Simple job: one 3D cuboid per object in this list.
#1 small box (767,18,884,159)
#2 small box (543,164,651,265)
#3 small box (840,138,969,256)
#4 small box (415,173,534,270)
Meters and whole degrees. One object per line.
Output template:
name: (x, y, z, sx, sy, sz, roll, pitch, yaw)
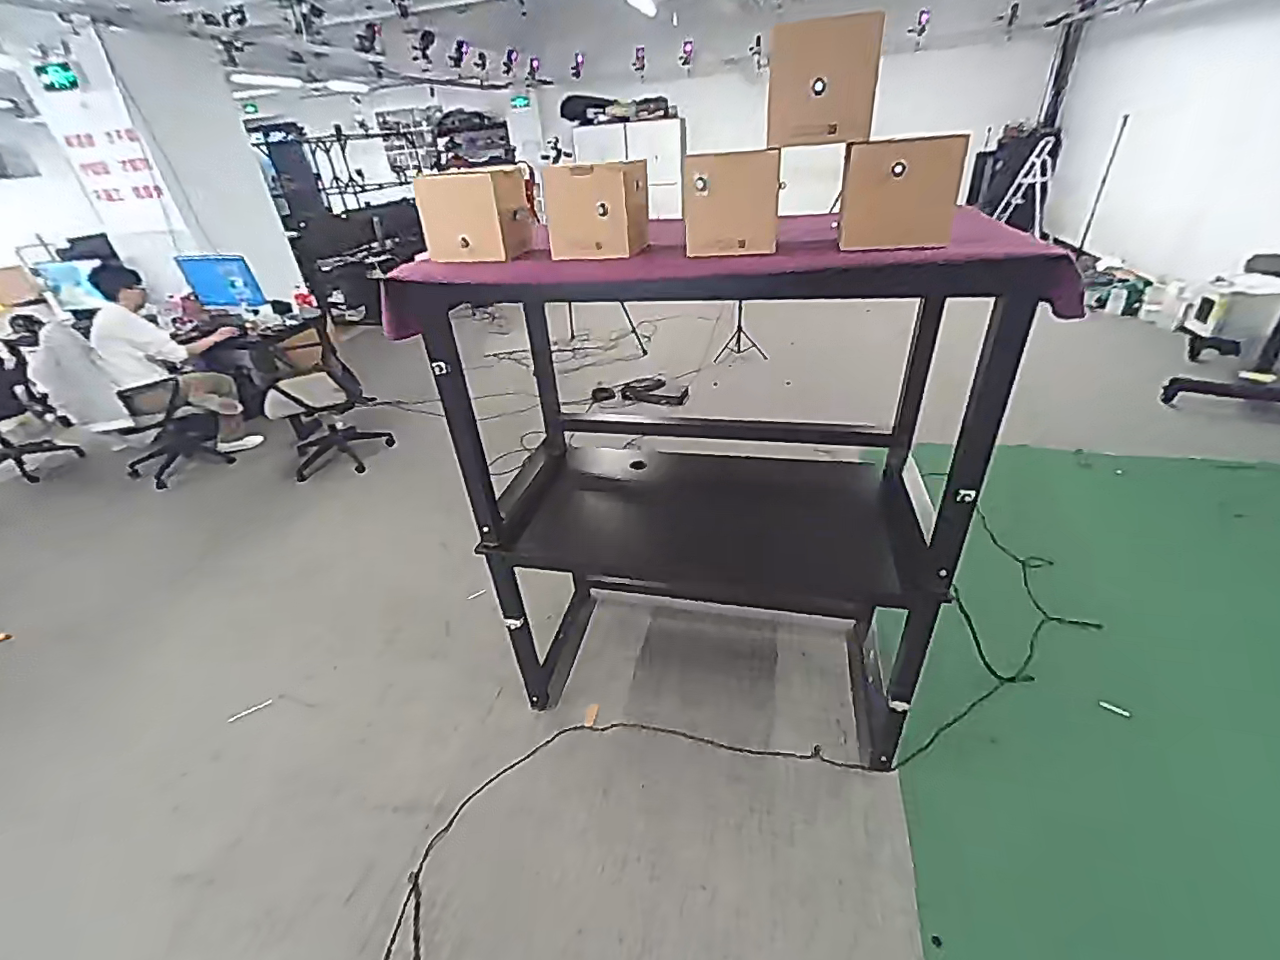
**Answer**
small box: (0.308, -0.657, 0.926, 0.168, 0.176, 0.179, 4, 31, 13)
small box: (-0.077, -0.539, 1.103, 0.168, 0.176, 0.179, 5, 32, 15)
small box: (0.459, -0.504, 0.971, 0.179, 0.176, 0.168, 4, 32, 14)
small box: (-0.343, -0.556, 1.163, 0.179, 0.176, 0.168, 4, 32, 11)
